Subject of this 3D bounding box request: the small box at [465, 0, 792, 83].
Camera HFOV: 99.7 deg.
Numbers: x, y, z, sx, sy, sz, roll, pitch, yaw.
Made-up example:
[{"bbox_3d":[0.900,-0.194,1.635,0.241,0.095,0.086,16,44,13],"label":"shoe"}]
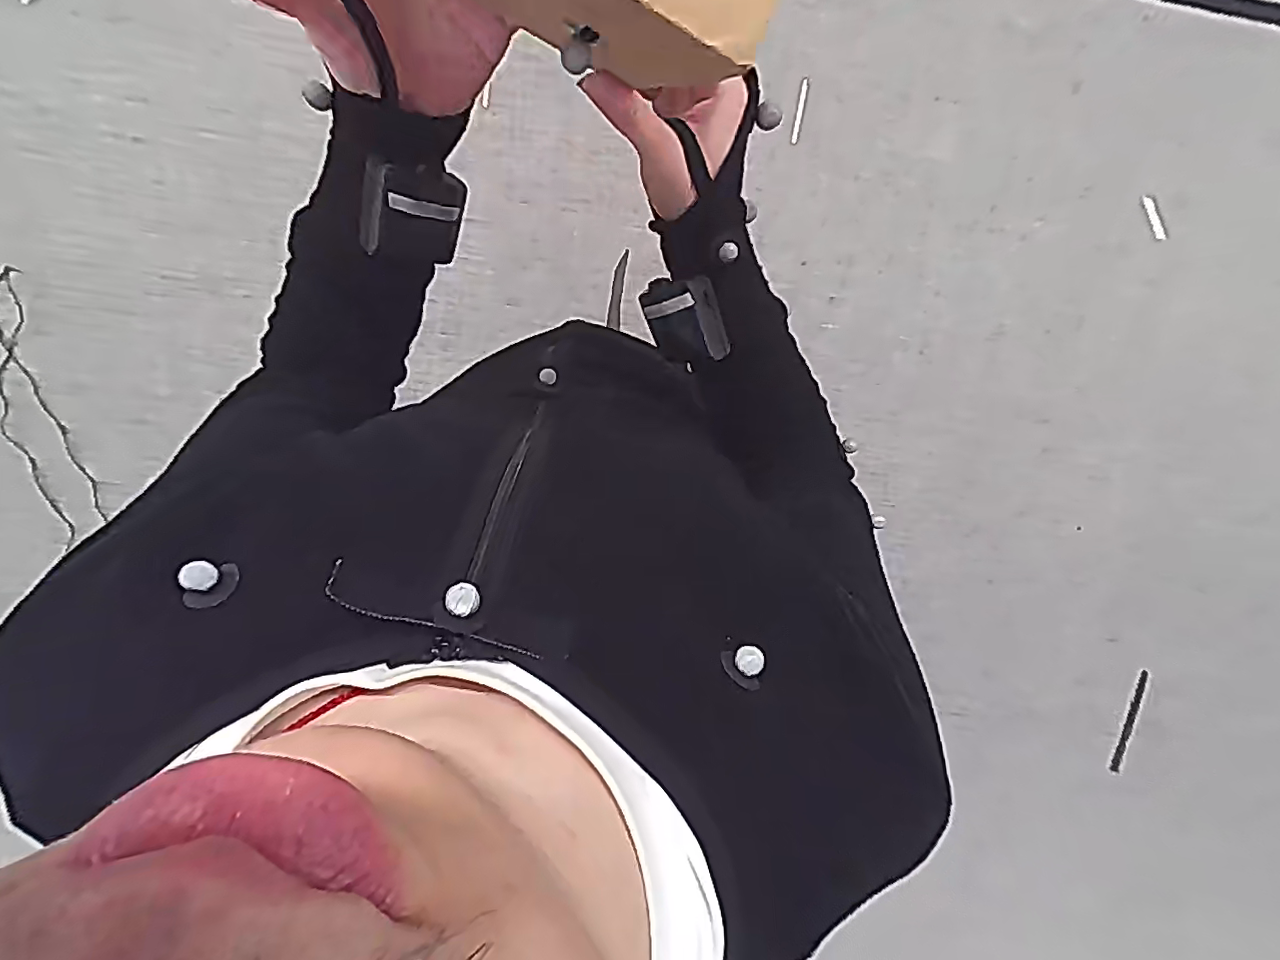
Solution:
[{"bbox_3d":[-0.025,-0.266,0.180,0.179,0.176,0.168,13,117,-25],"label":"small box"}]
